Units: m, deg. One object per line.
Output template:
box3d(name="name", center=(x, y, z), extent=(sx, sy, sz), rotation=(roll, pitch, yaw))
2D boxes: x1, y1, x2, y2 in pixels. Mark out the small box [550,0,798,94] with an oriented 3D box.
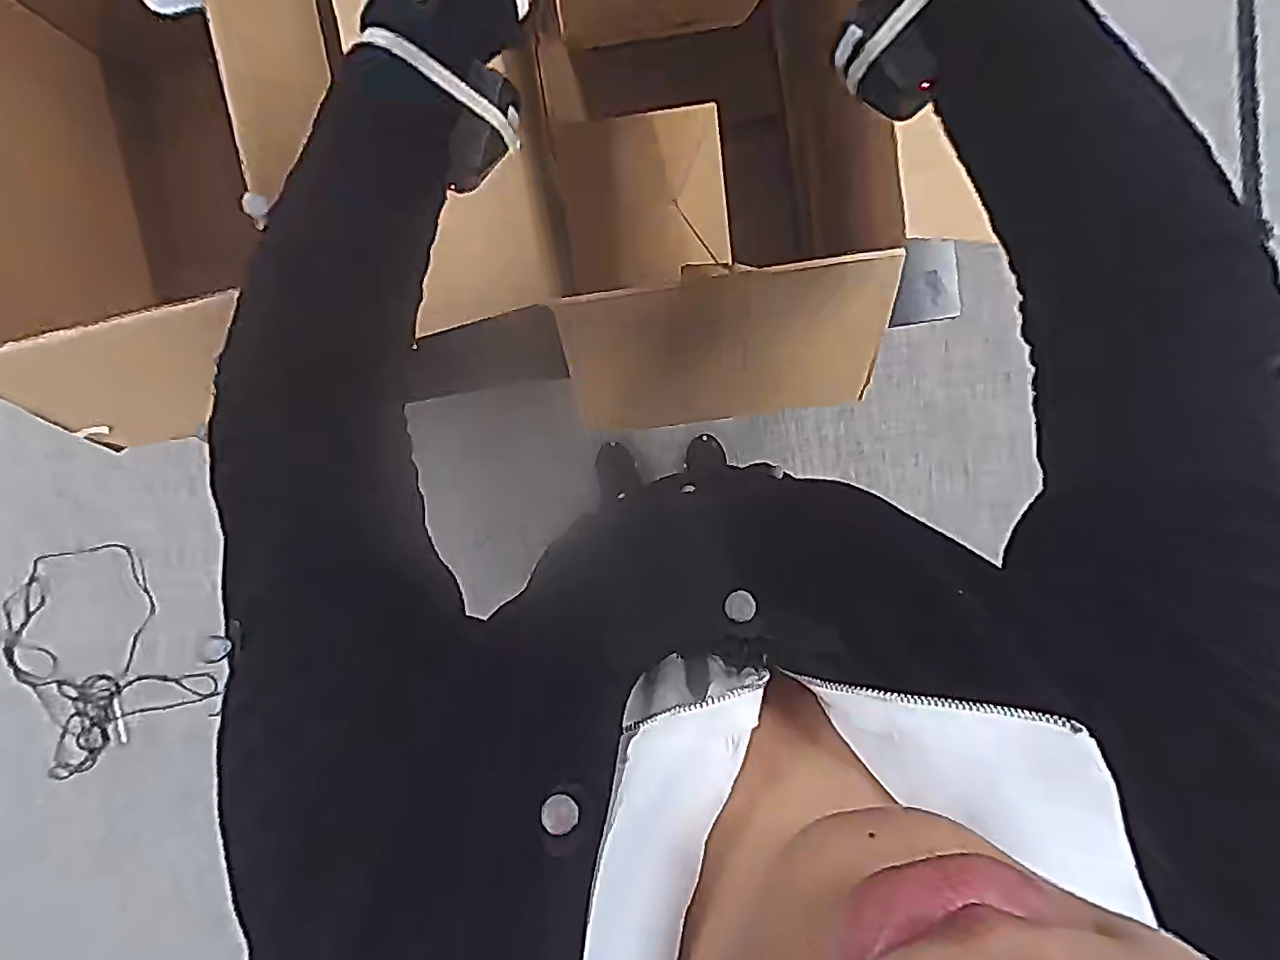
box3d(name="small box", center=(0.009, -0.417, 0.399), extent=(0.168, 0.176, 0.179), rotation=(-9, 115, -2))
